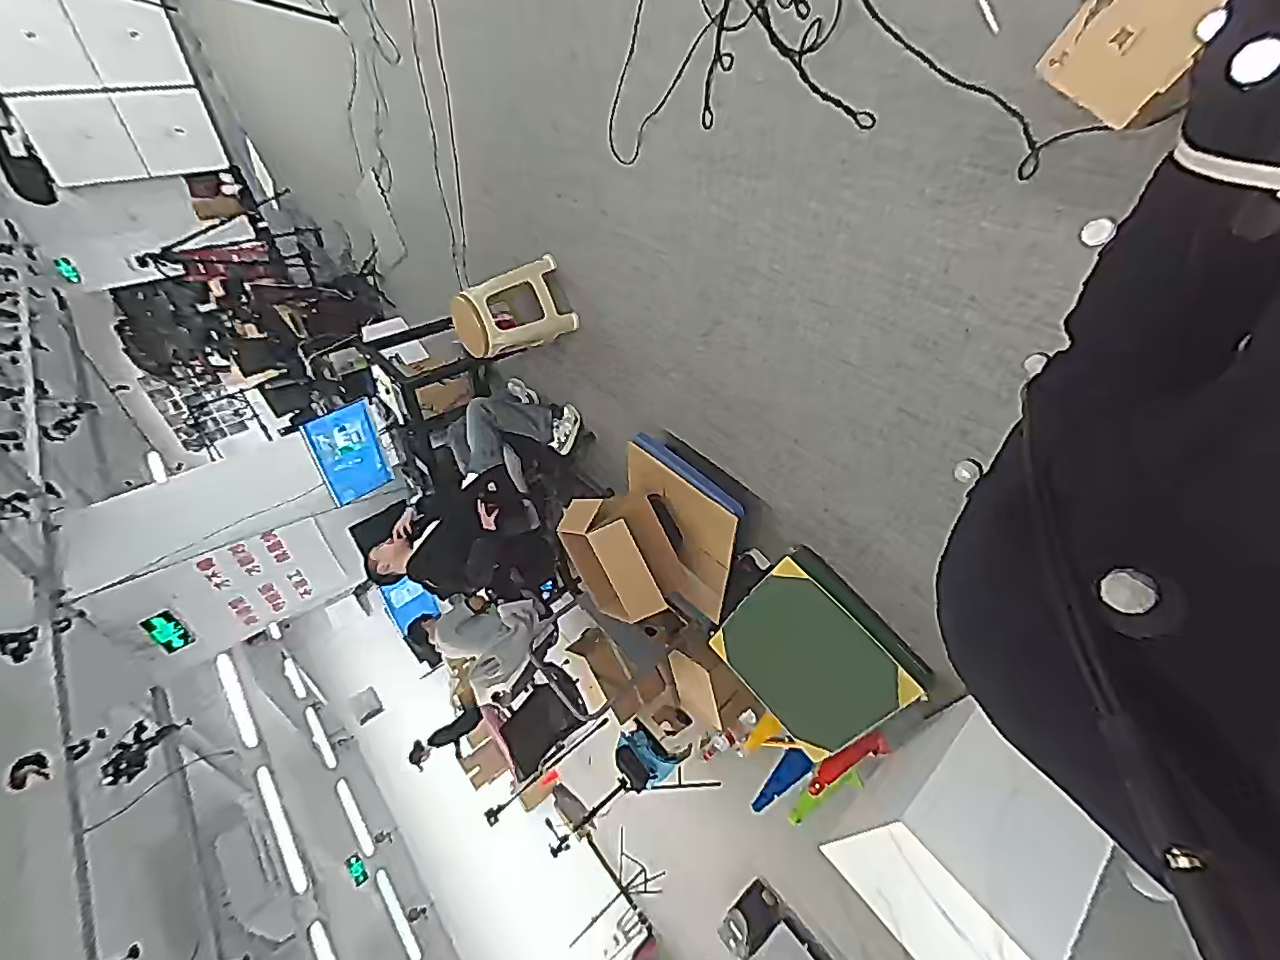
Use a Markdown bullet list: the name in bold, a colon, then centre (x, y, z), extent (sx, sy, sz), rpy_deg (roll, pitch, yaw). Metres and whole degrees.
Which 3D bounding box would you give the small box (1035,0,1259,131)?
- **small box**: centre (0.775, -0.680, 0.831), extent (0.179, 0.176, 0.168), rpy_deg (52, 149, 15)
